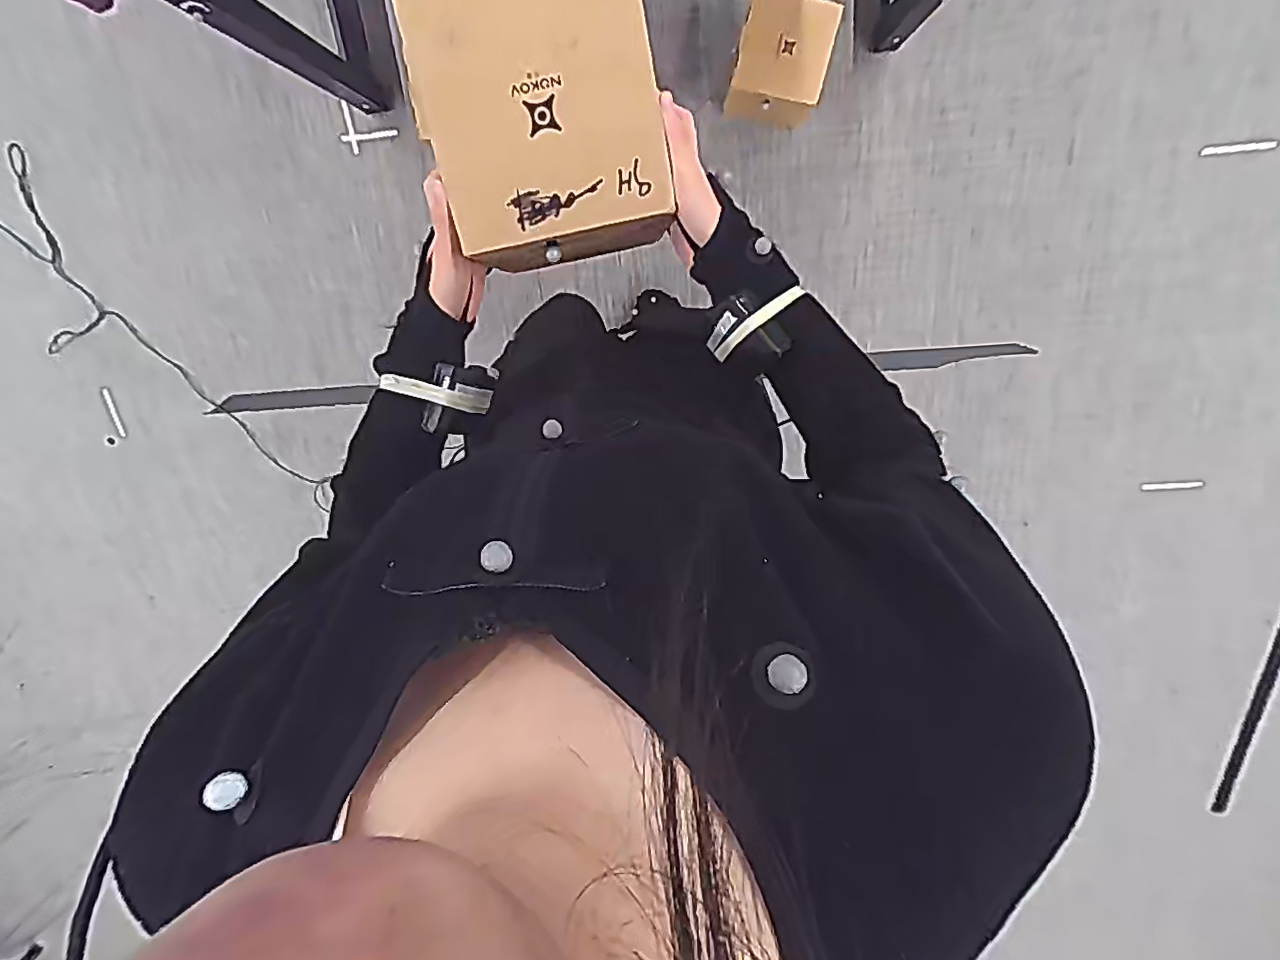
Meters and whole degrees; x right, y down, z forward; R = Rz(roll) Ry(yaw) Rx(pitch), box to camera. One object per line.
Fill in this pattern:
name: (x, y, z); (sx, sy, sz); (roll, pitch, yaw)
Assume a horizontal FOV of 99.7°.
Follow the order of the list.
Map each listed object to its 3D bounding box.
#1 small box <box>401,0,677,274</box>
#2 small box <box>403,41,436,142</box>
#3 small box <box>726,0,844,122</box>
small box: (-0.071, -0.286, 0.456); (0.168, 0.176, 0.179); (-11, 106, 1)
small box: (-0.372, -0.817, 1.158); (0.179, 0.176, 0.168); (-3, 112, 3)
small box: (0.286, -0.859, 1.108); (0.179, 0.176, 0.168); (13, 111, 0)
